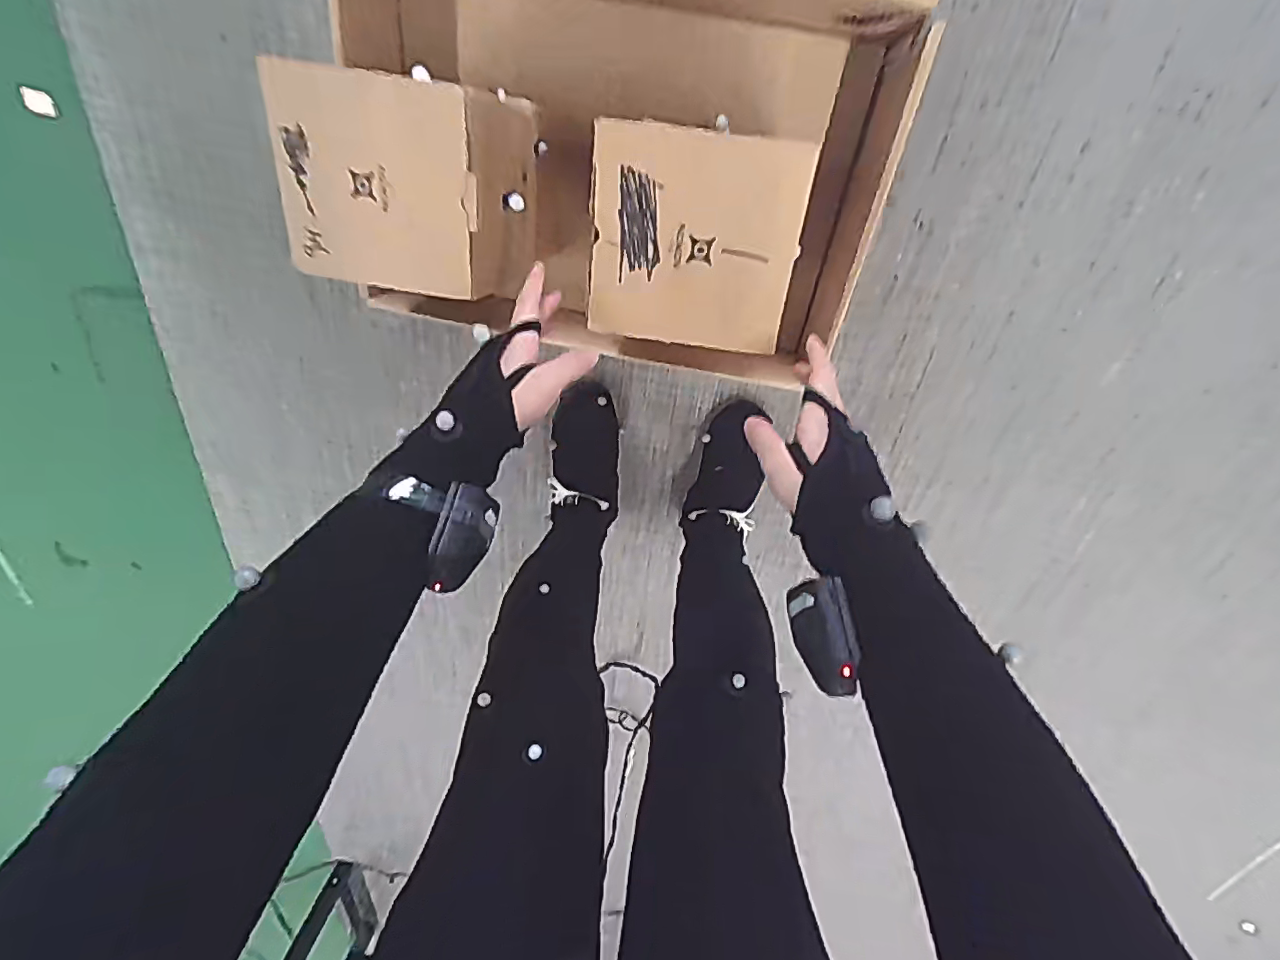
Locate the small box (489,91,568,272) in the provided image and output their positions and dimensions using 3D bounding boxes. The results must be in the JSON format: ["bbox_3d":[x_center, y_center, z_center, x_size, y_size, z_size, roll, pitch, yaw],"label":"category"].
[{"bbox_3d":[-0.193,-0.375,0.673,0.168,0.176,0.179,12,119,2],"label":"small box"}]

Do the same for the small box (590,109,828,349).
[{"bbox_3d":[0.059,-0.240,0.519,0.179,0.176,0.168,9,120,3],"label":"small box"}]

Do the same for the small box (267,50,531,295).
[{"bbox_3d":[-0.212,-0.294,0.533,0.179,0.176,0.168,9,119,2],"label":"small box"}]
